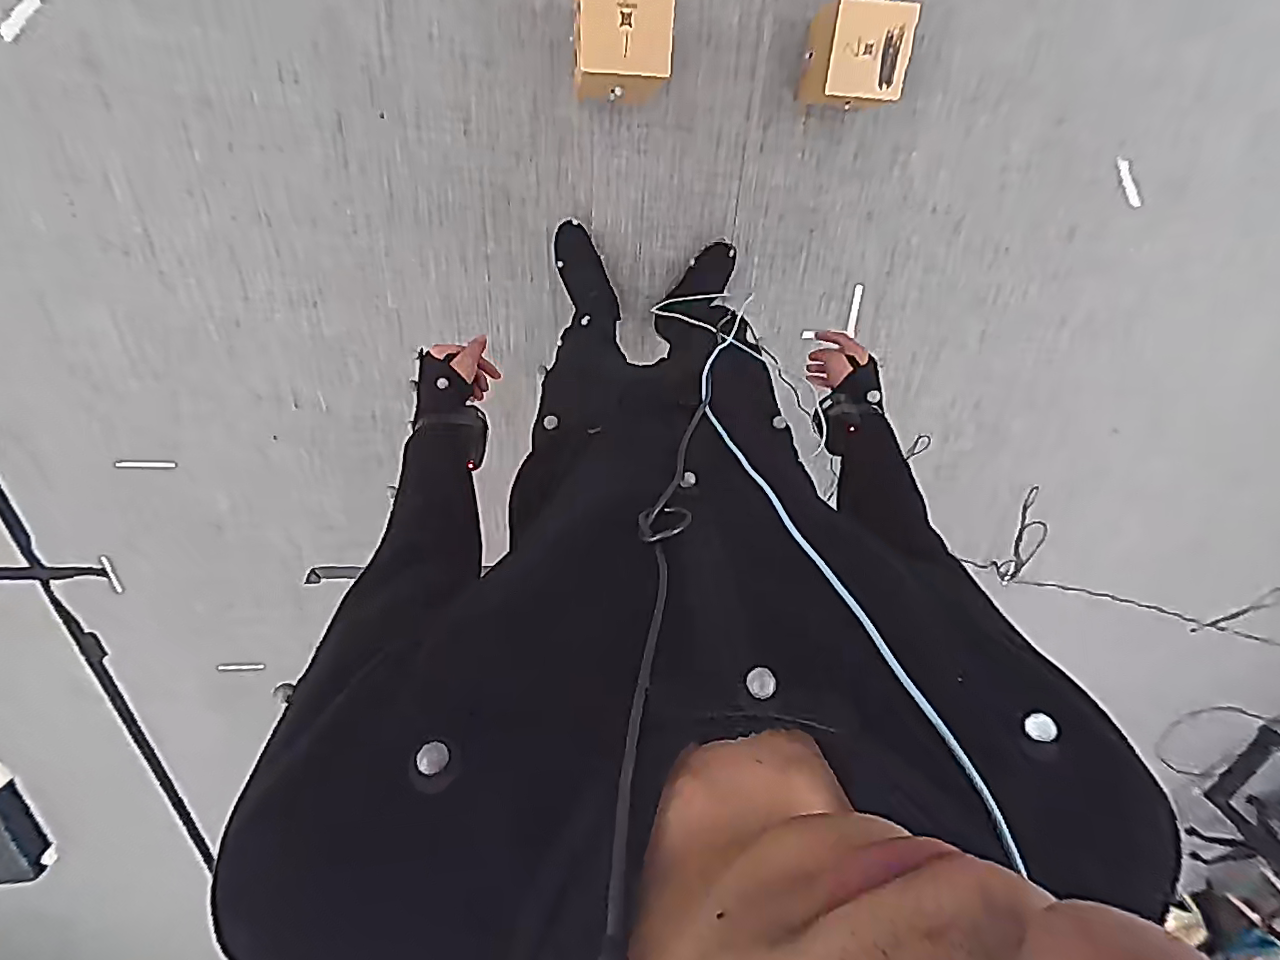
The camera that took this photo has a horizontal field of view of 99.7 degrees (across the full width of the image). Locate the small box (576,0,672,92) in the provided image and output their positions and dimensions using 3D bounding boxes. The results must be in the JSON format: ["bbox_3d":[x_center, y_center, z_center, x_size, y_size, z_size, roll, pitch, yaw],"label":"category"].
[{"bbox_3d":[-0.035,-0.847,1.007,0.168,0.176,0.179,0,119,-6],"label":"small box"}]

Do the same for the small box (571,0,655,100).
[{"bbox_3d":[-0.058,-0.922,1.151,0.179,0.176,0.168,0,119,-6],"label":"small box"}]
